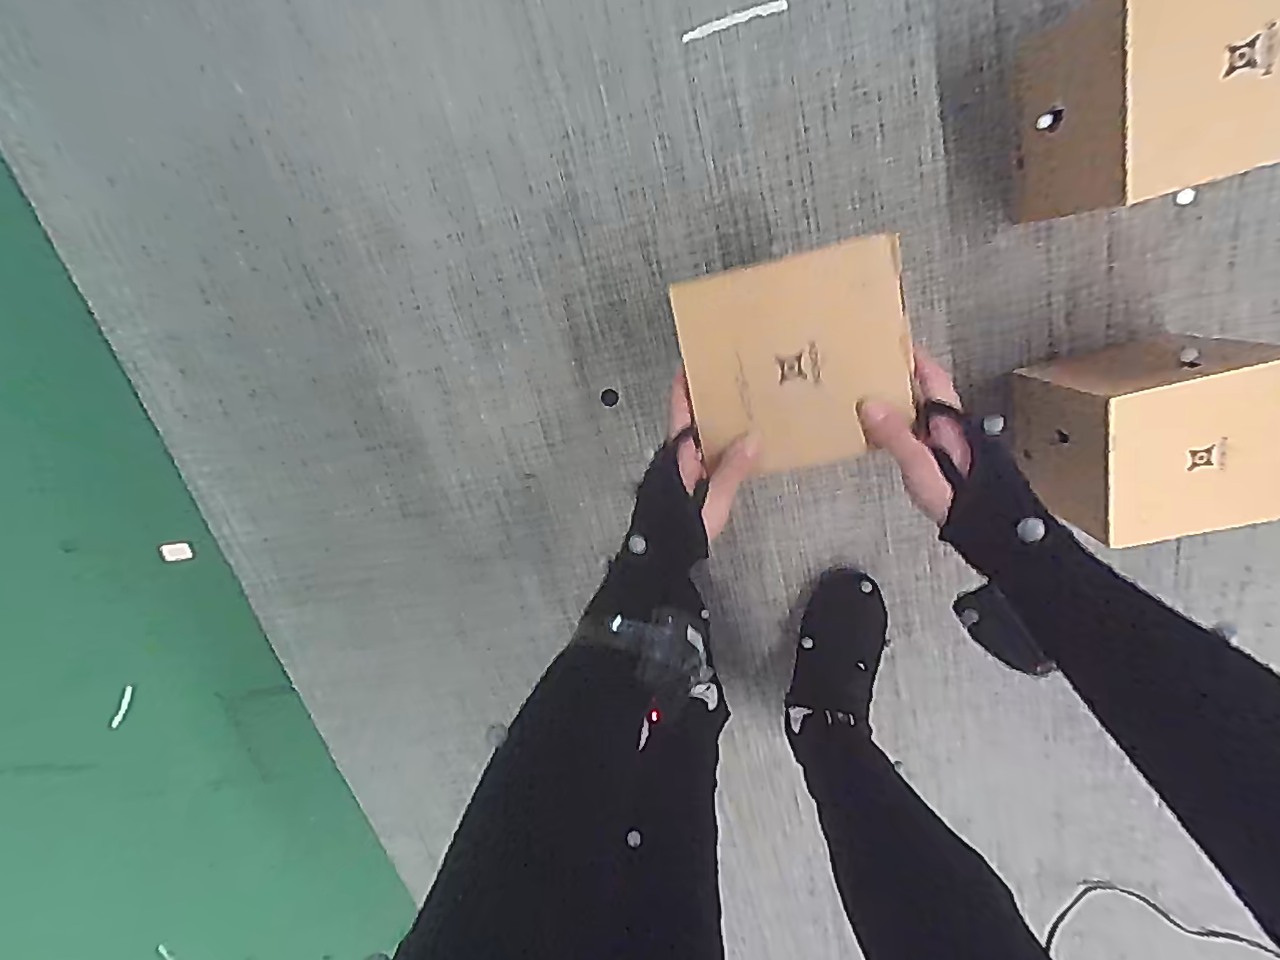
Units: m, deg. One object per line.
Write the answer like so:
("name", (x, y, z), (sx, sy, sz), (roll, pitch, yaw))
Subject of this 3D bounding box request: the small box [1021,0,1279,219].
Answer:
("small box", (0.472, -0.349, 0.482), (0.179, 0.176, 0.168), (-13, 108, 9))

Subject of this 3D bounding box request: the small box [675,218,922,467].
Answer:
("small box", (0.133, -0.124, 0.500), (0.179, 0.176, 0.168), (-10, 104, 9))

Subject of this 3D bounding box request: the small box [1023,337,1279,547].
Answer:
("small box", (0.547, -0.049, 0.584), (0.179, 0.176, 0.168), (-13, 107, 9))
